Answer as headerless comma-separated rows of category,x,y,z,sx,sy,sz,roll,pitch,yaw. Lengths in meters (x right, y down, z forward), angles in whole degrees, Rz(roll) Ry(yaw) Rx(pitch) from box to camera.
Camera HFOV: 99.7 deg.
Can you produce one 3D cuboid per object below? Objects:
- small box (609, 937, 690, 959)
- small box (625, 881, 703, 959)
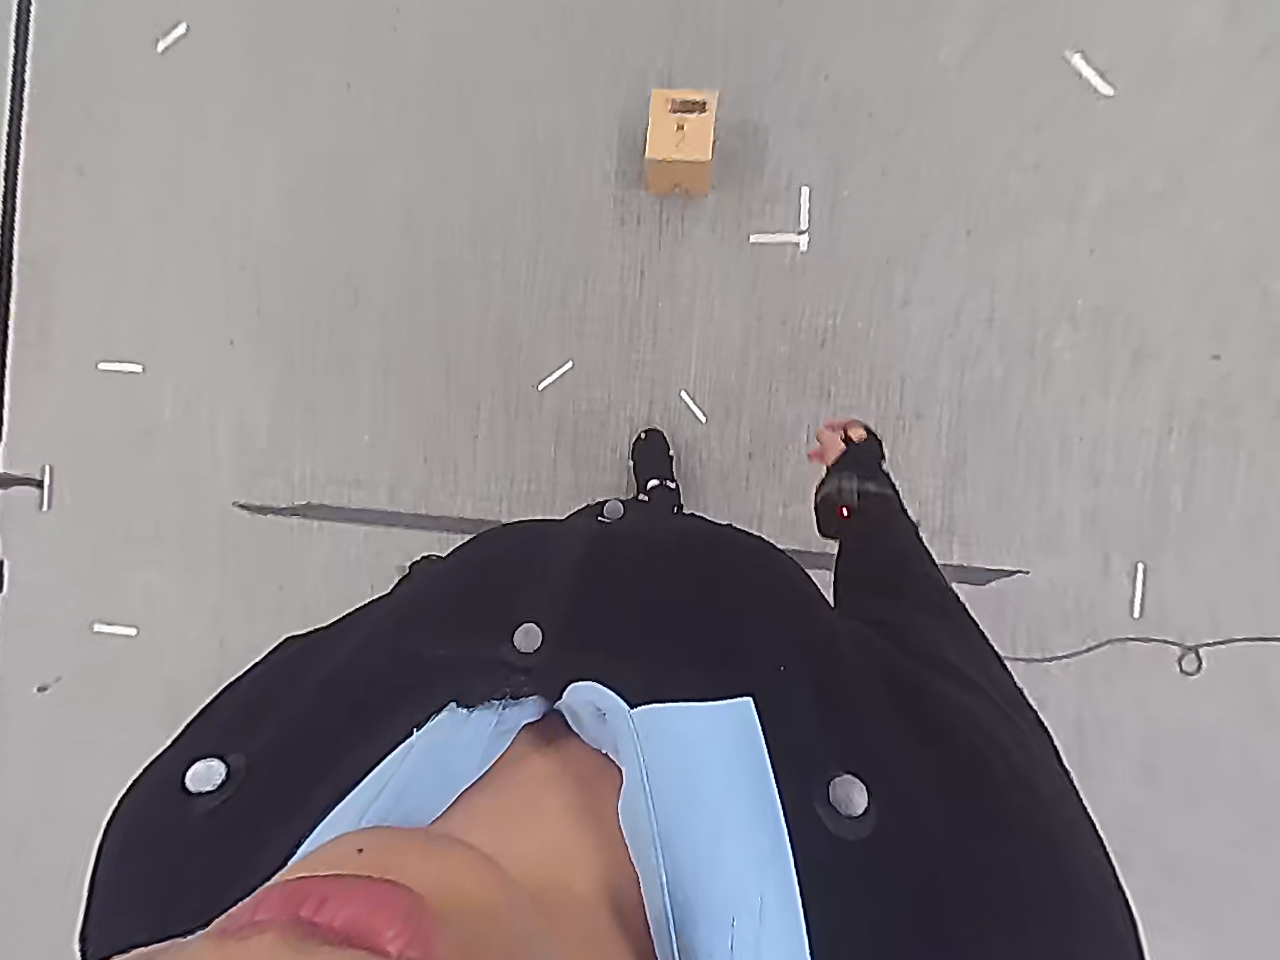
small box,0.015,1.049,1.050,0.168,0.176,0.179,-1,89,5
small box,0.058,1.051,1.211,0.168,0.176,0.179,-1,89,6
